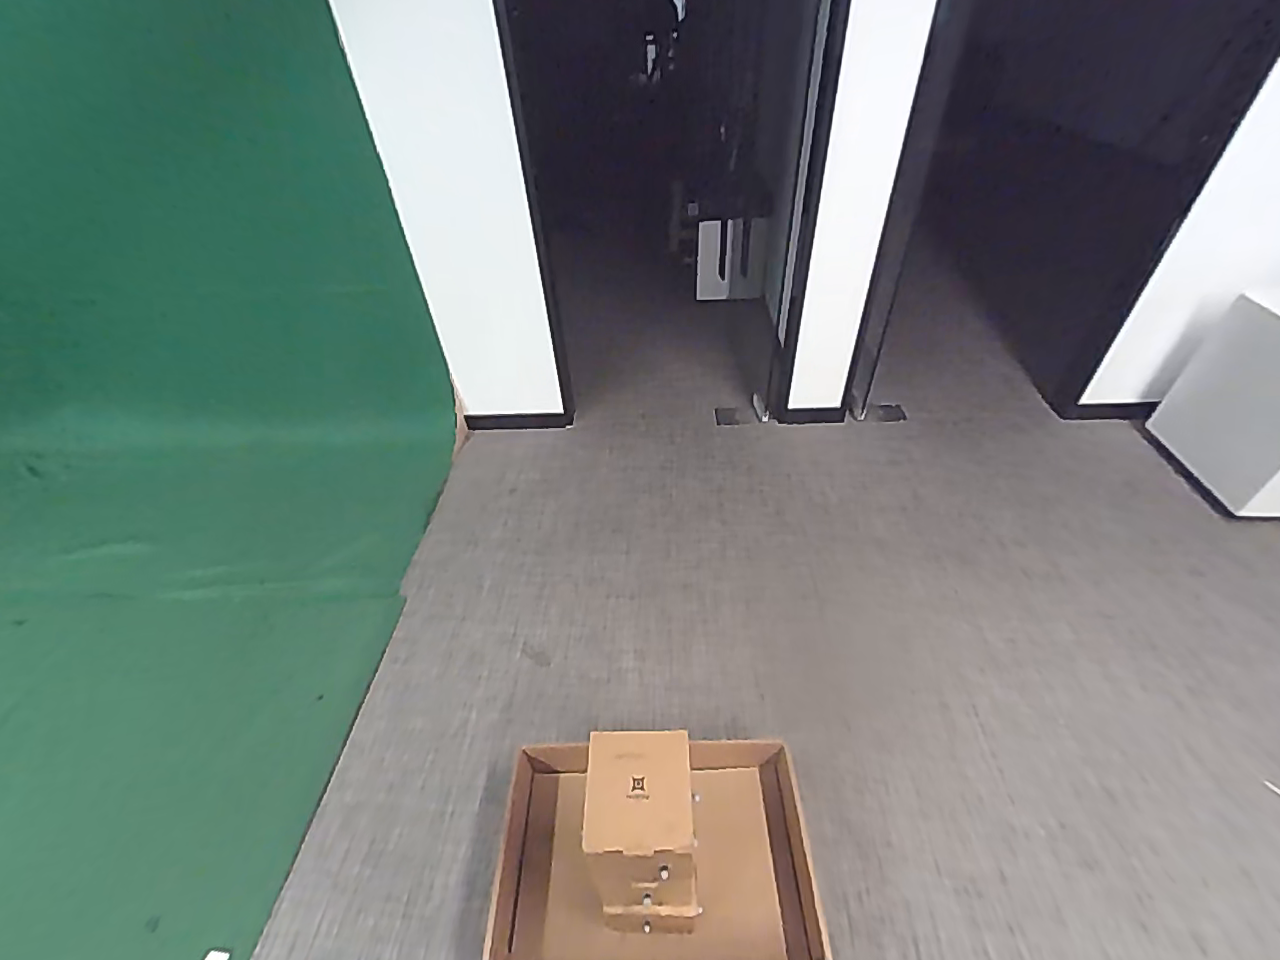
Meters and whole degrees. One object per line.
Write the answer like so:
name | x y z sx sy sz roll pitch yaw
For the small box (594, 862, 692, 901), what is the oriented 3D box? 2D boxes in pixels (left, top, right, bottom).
small box | 0.008 0.674 1.022 0.168 0.176 0.179 -5 40 1

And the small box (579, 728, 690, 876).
small box | -0.002 0.538 0.902 0.168 0.176 0.179 -1 40 2

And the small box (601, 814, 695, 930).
small box | 0.023 0.804 1.115 0.179 0.176 0.168 -1 40 5
